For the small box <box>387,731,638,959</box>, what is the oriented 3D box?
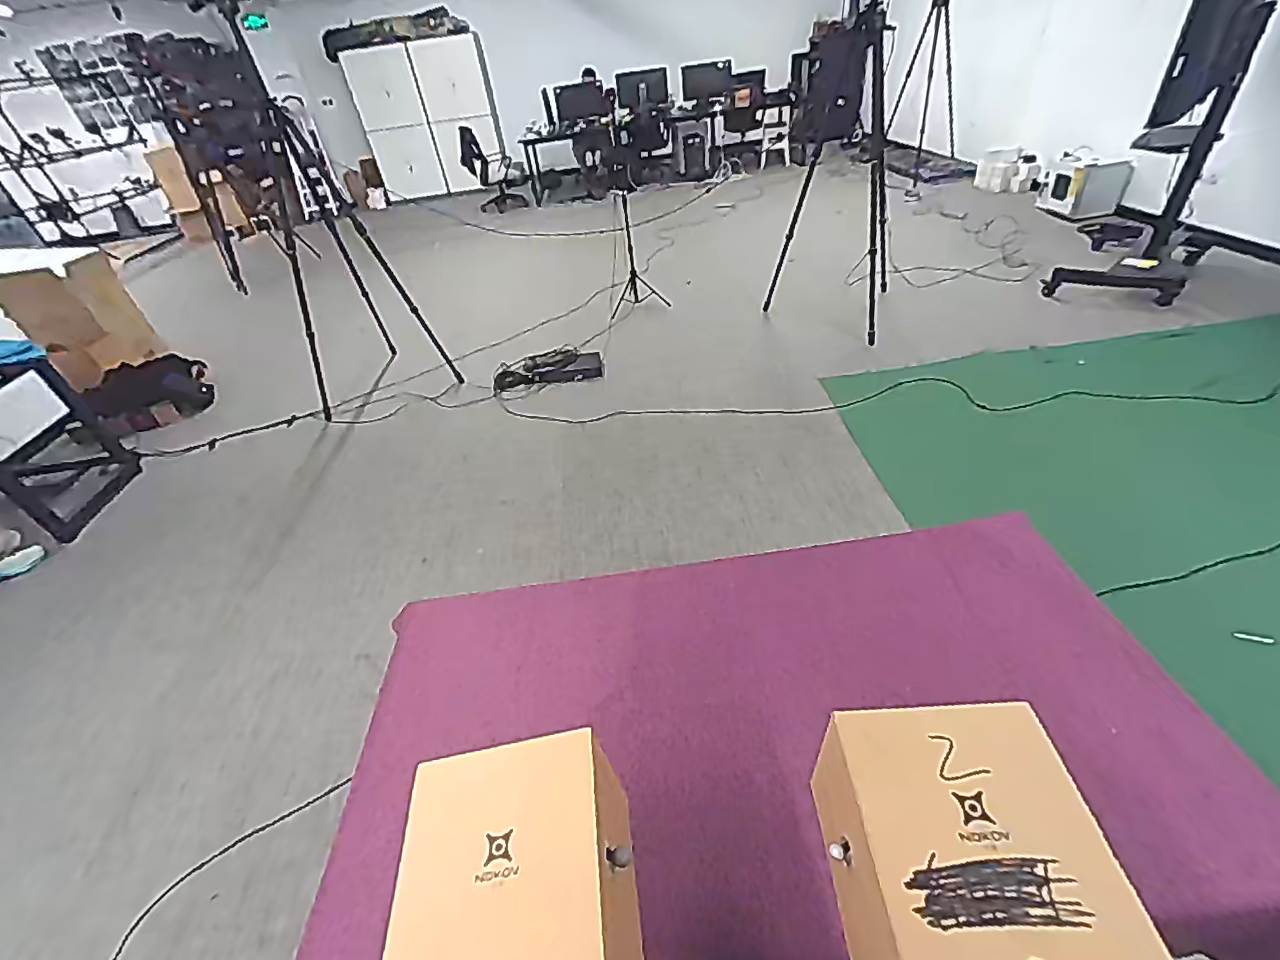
[{"bbox_3d":[-0.101,0.366,0.496,0.168,0.176,0.179,-13,41,1],"label":"small box"}]
